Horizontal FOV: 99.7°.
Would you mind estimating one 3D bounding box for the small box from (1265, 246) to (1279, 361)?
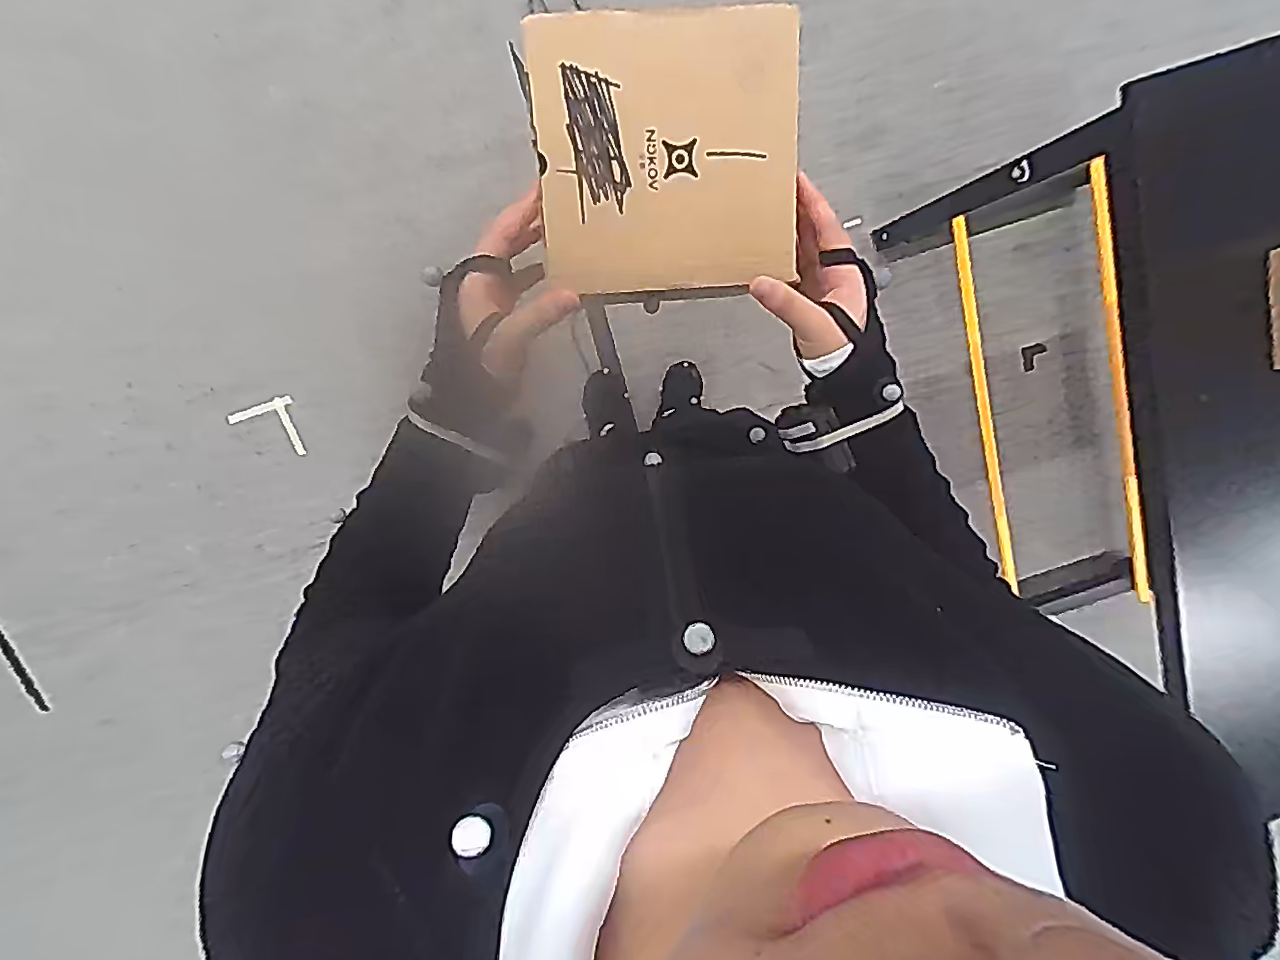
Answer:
[{"bbox_3d":[0.956,-0.251,0.669,0.179,0.176,0.168,-19,101,2],"label":"small box"}]

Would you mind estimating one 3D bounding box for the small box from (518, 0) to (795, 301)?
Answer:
[{"bbox_3d":[0.012,-0.238,0.433,0.179,0.176,0.168,-5,106,-2],"label":"small box"}]
